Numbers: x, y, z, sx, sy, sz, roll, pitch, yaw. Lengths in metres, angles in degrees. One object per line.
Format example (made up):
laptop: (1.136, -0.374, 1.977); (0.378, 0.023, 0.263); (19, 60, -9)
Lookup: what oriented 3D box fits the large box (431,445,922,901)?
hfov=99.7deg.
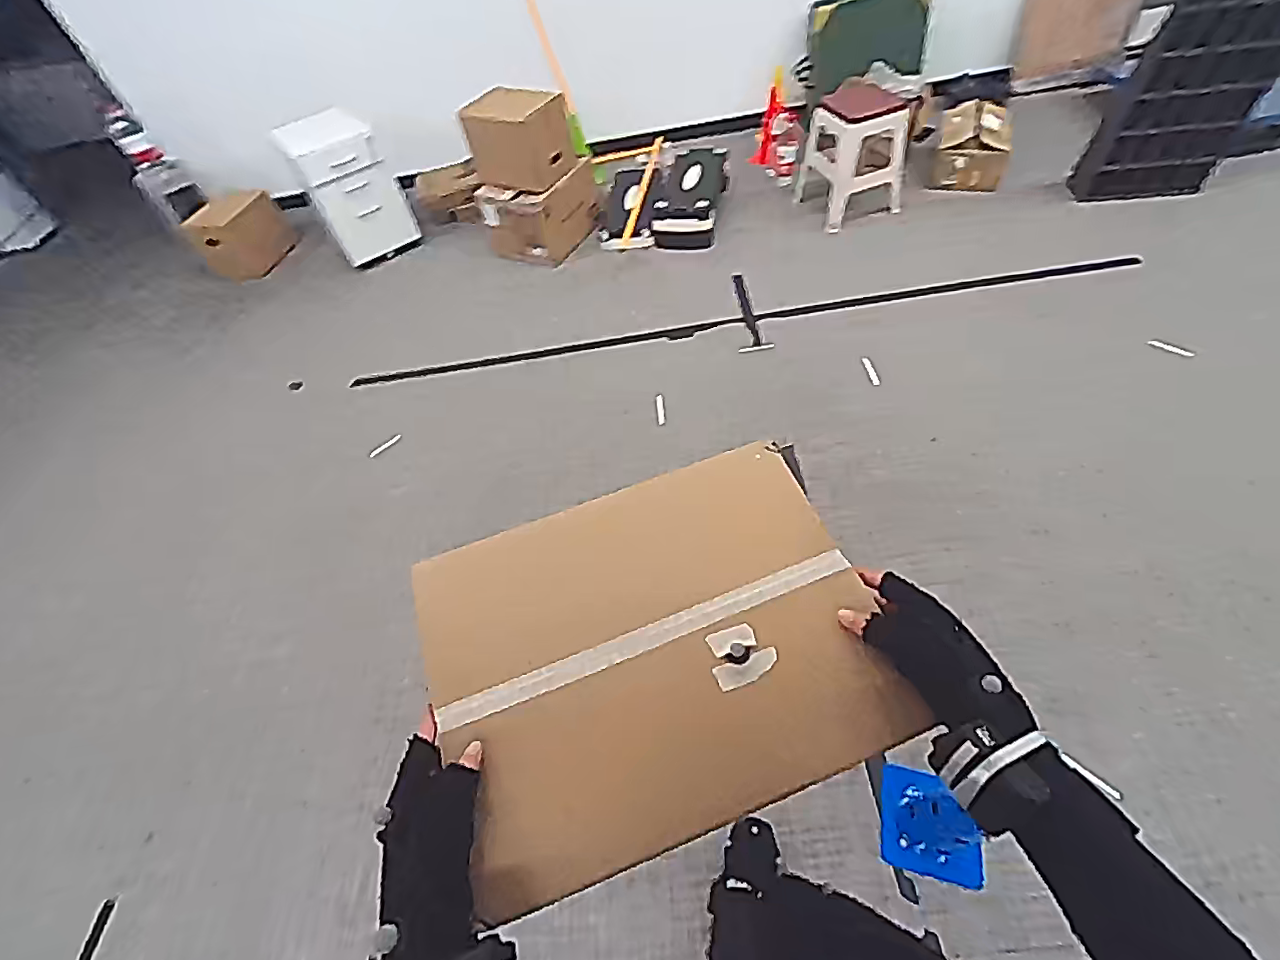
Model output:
large box: (0.023, 0.222, 0.648); (0.408, 0.320, 0.320); (-19, 60, -7)

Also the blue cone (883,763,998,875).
blue cone: (0.616, 0.642, 1.063); (0.193, 0.380, 0.192); (9, 55, 16)
